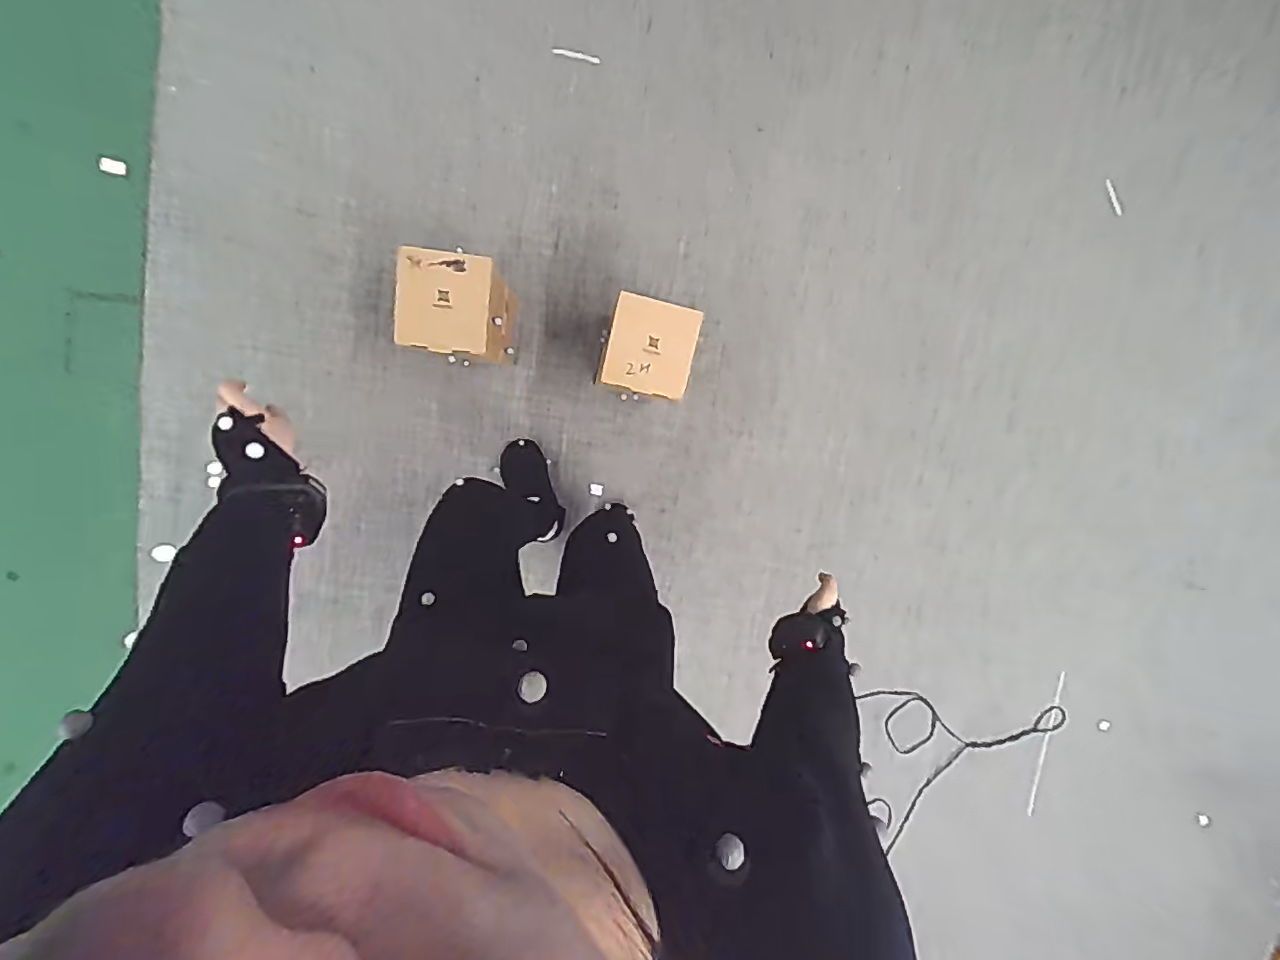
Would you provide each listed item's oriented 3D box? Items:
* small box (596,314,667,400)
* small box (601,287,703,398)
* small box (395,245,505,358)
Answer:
[{"bbox_3d":[-0.005,-0.295,1.268,0.168,0.176,0.179,14,98,-8],"label":"small box"},{"bbox_3d":[0.016,-0.272,1.106,0.168,0.176,0.179,12,98,-7],"label":"small box"},{"bbox_3d":[-0.362,-0.337,1.054,0.168,0.176,0.179,5,99,-7],"label":"small box"}]
